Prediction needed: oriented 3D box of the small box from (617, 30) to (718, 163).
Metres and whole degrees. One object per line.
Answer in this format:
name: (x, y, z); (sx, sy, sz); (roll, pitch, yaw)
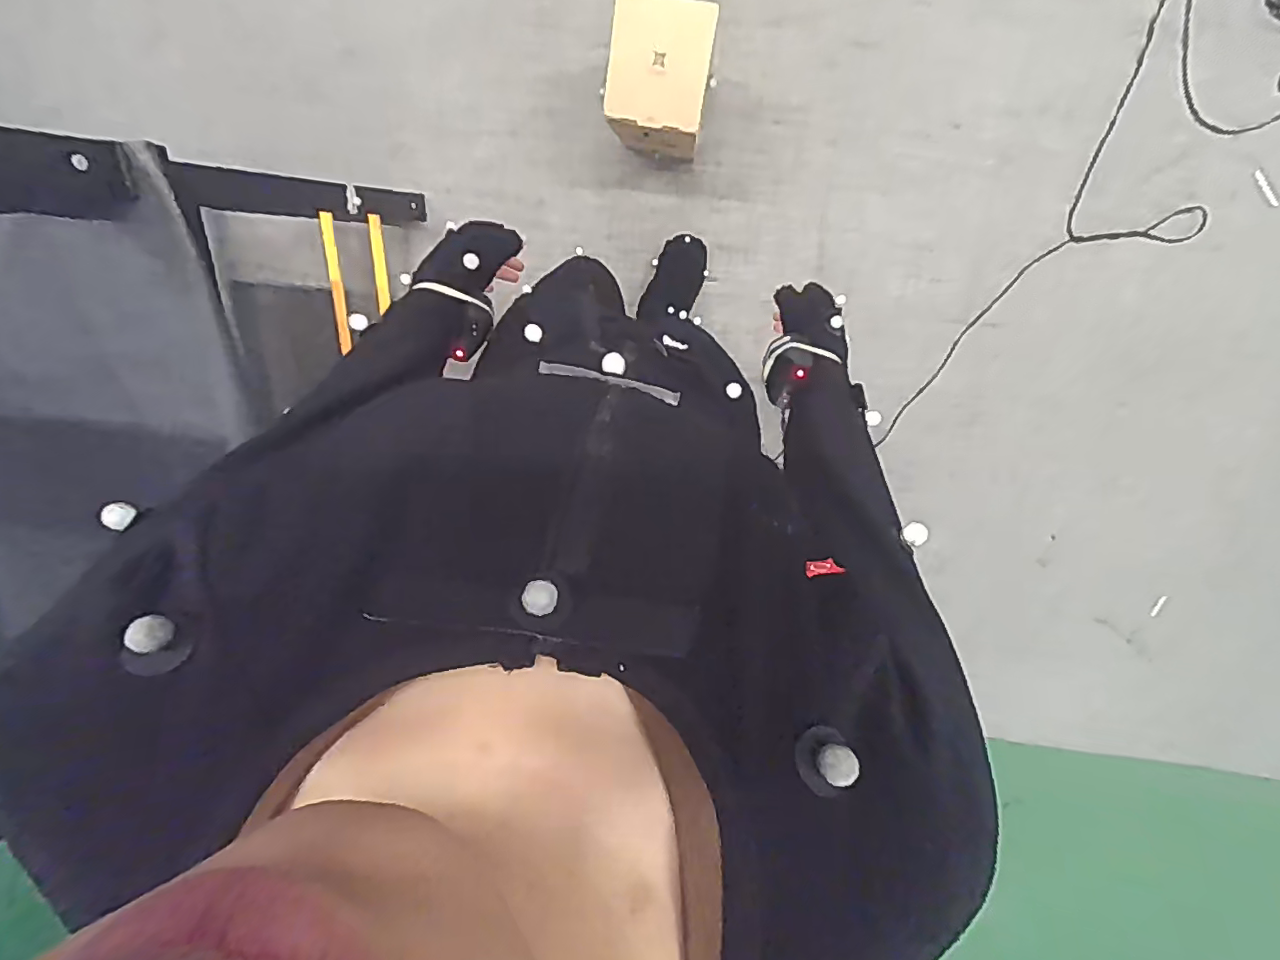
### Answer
small box: (0.056, -0.773, 1.108); (0.168, 0.176, 0.179); (12, 115, 1)
